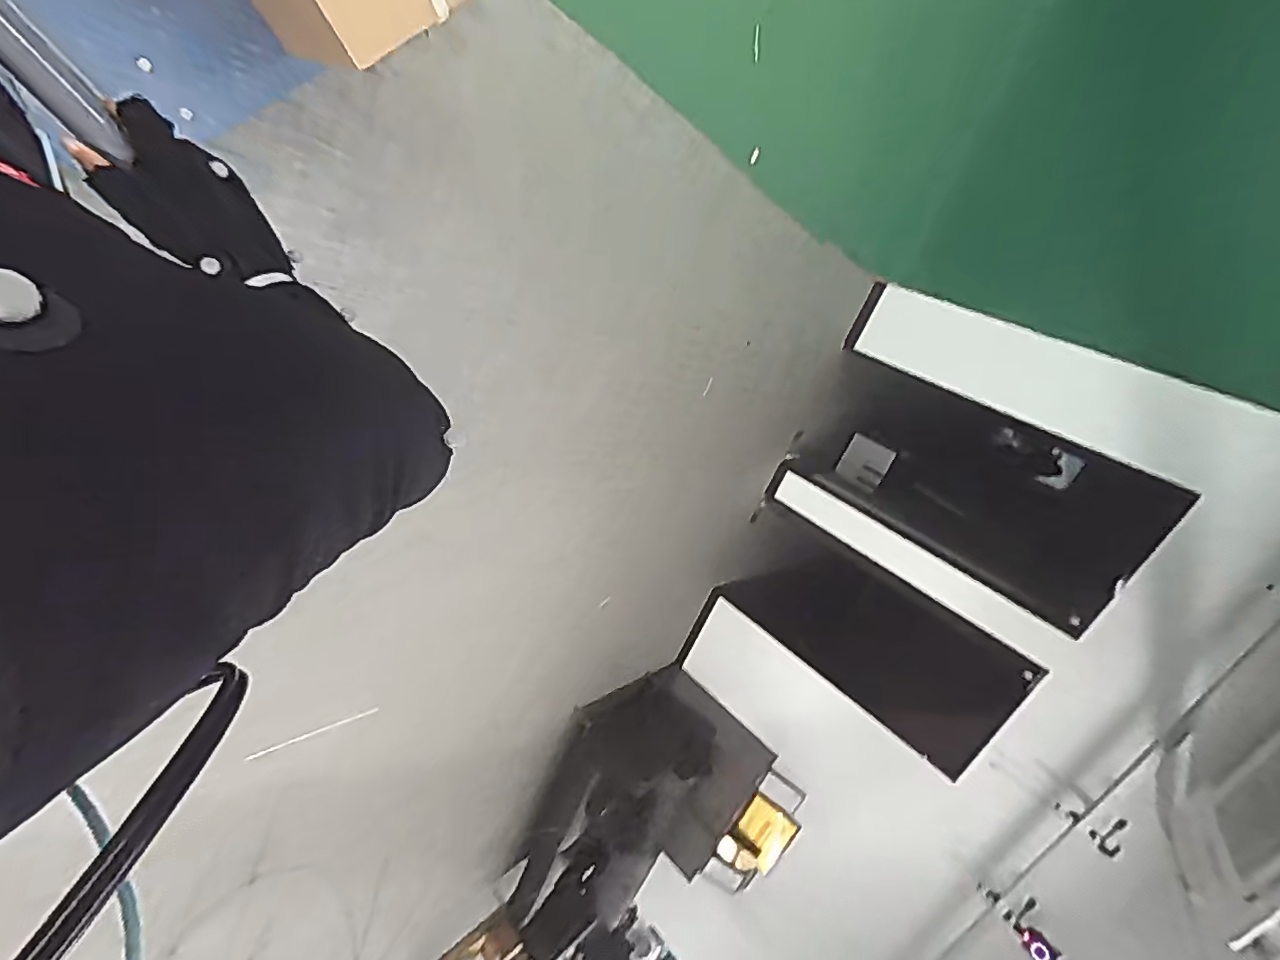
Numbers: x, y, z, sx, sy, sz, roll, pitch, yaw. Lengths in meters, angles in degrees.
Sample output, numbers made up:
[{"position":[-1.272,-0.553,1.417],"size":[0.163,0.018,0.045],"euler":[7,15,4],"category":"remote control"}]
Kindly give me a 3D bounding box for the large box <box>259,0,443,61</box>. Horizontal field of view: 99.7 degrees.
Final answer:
[{"position":[-0.460,-0.879,0.726],"size":[0.320,0.320,0.408],"euler":[-47,147,-11],"category":"large box"}]
